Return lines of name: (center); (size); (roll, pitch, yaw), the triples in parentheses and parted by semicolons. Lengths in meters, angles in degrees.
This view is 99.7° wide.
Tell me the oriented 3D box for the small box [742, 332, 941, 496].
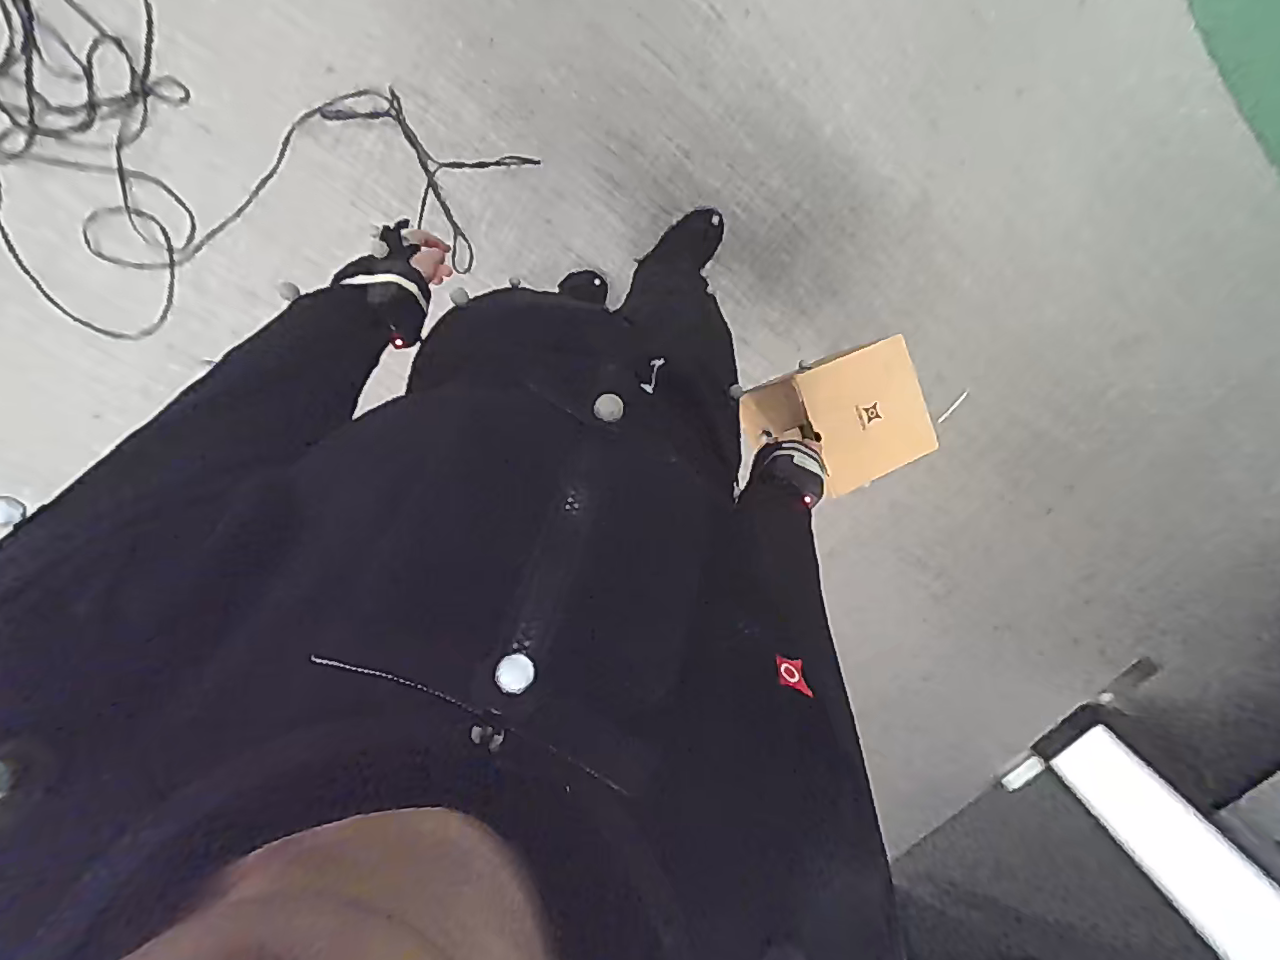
small box: (0.275, -0.088, 0.768); (0.179, 0.176, 0.168); (-24, 97, -13)
